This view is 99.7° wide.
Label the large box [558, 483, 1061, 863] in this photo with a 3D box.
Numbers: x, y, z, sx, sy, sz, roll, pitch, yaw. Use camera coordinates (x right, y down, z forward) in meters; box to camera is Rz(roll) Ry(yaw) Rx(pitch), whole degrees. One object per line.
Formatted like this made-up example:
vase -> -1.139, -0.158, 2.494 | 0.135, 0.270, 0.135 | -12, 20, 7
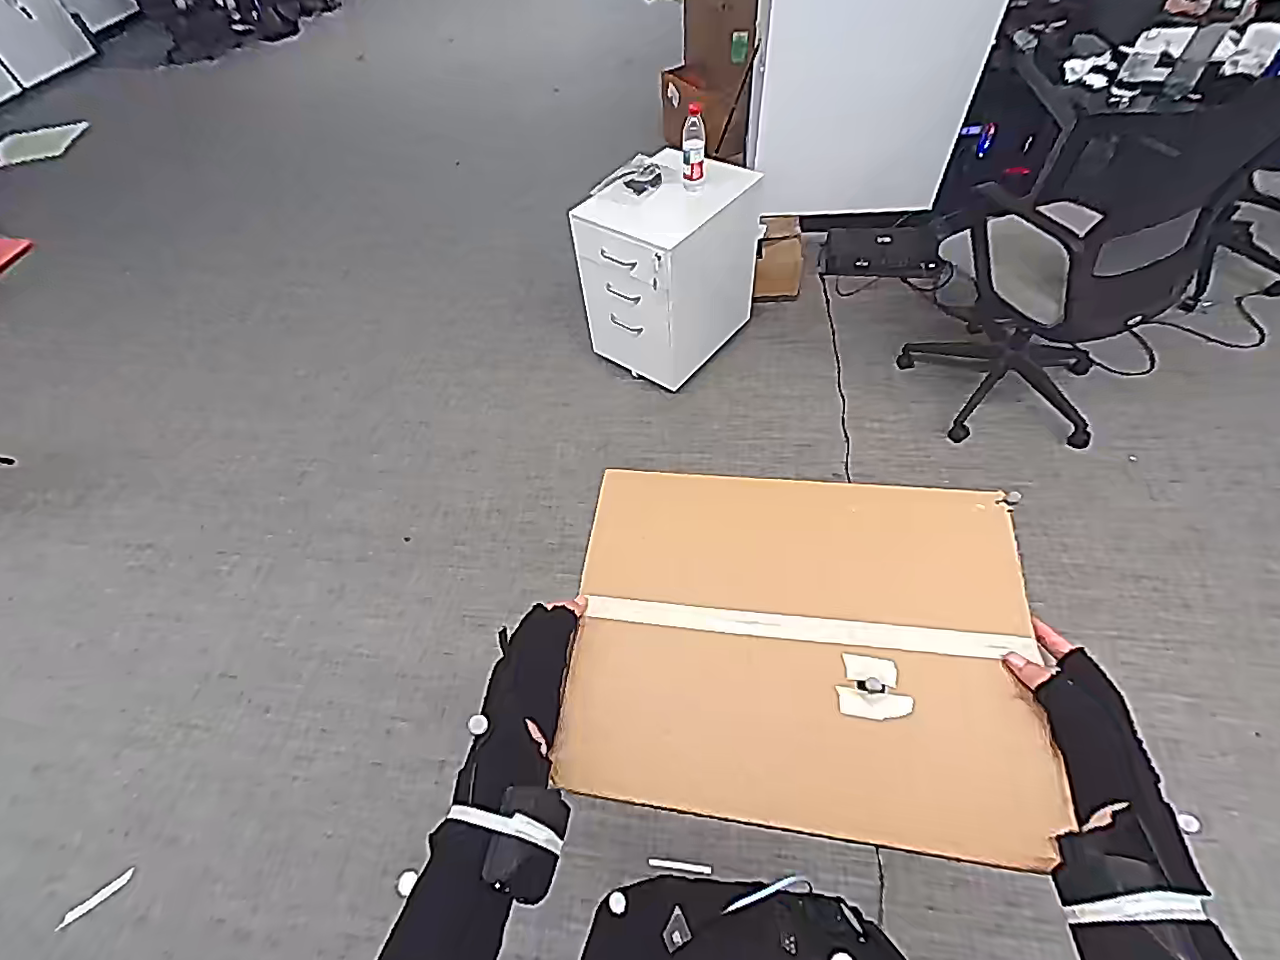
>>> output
large box -> 0.158, 0.219, 0.635 | 0.408, 0.320, 0.320 | 4, 61, 11
